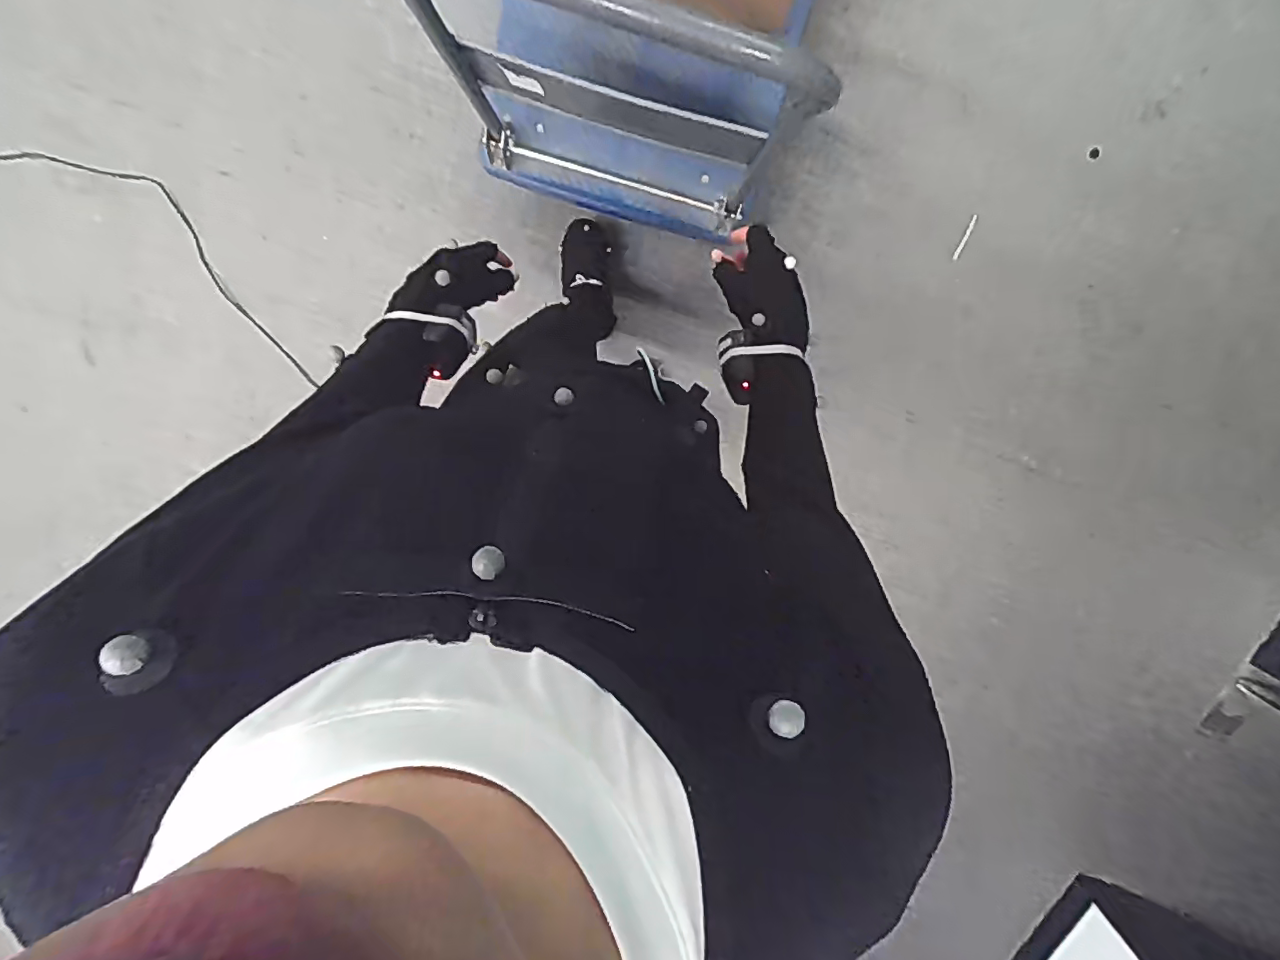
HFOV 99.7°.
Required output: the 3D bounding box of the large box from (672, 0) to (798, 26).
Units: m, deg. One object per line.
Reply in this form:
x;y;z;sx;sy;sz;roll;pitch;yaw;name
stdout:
0.119;-1.021;0.864;0.408;0.320;0.320;13;105;-3;large box
